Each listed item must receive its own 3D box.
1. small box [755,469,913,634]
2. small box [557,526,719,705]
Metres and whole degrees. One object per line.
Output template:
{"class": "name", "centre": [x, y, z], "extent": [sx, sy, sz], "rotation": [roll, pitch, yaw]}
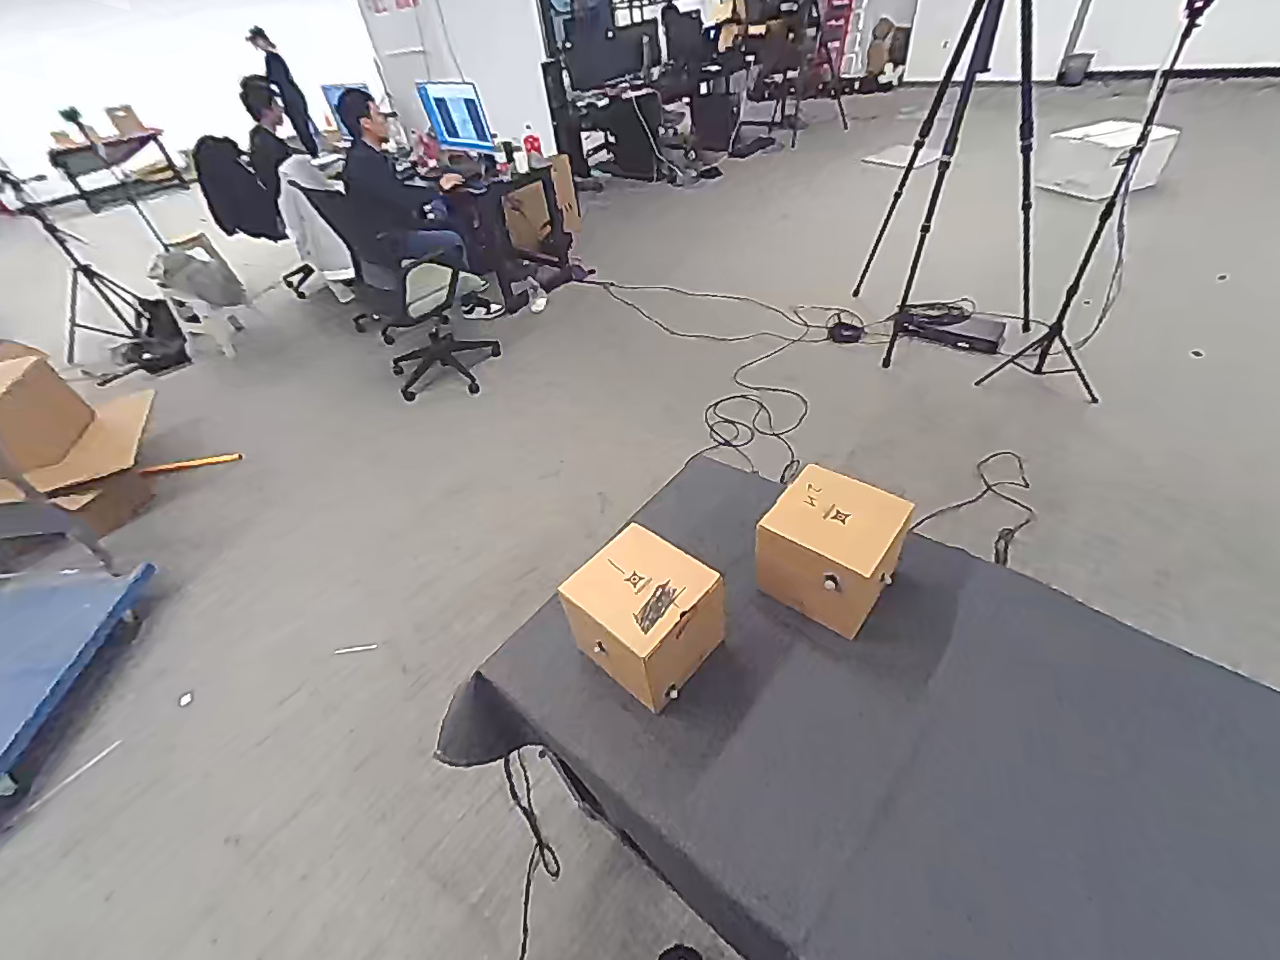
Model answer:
{"class": "small box", "centre": [0.302, 0.118, 0.867], "extent": [0.179, 0.176, 0.168], "rotation": [27, 54, 32]}
{"class": "small box", "centre": [0.005, 0.209, 0.820], "extent": [0.179, 0.176, 0.168], "rotation": [29, 54, 34]}
